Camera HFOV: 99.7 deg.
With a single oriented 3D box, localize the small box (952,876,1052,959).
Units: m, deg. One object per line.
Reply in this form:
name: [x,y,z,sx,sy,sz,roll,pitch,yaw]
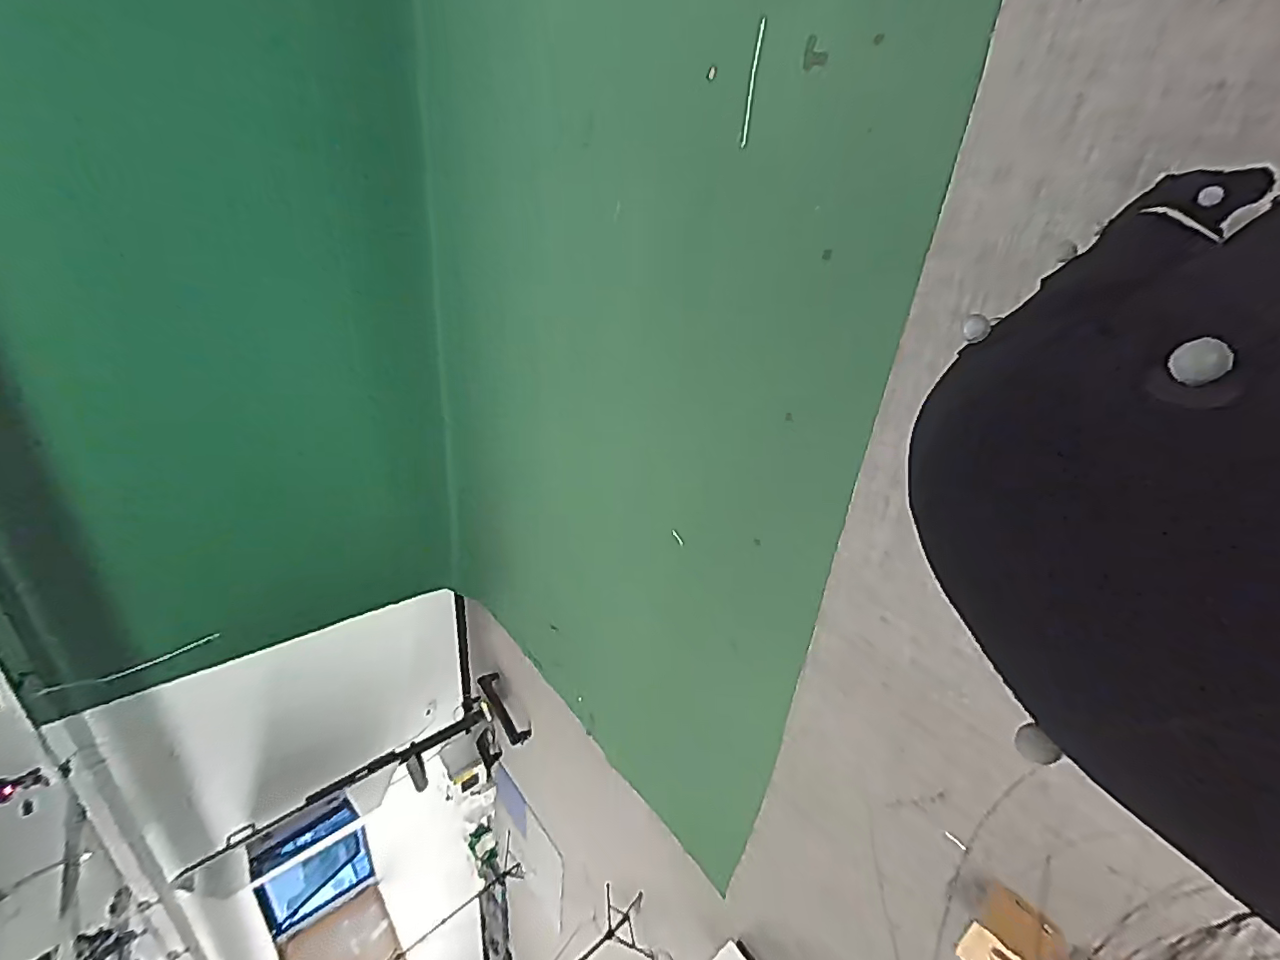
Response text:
small box: [1.018,1.273,1.515,0.168,0.176,0.179,31,126,42]
